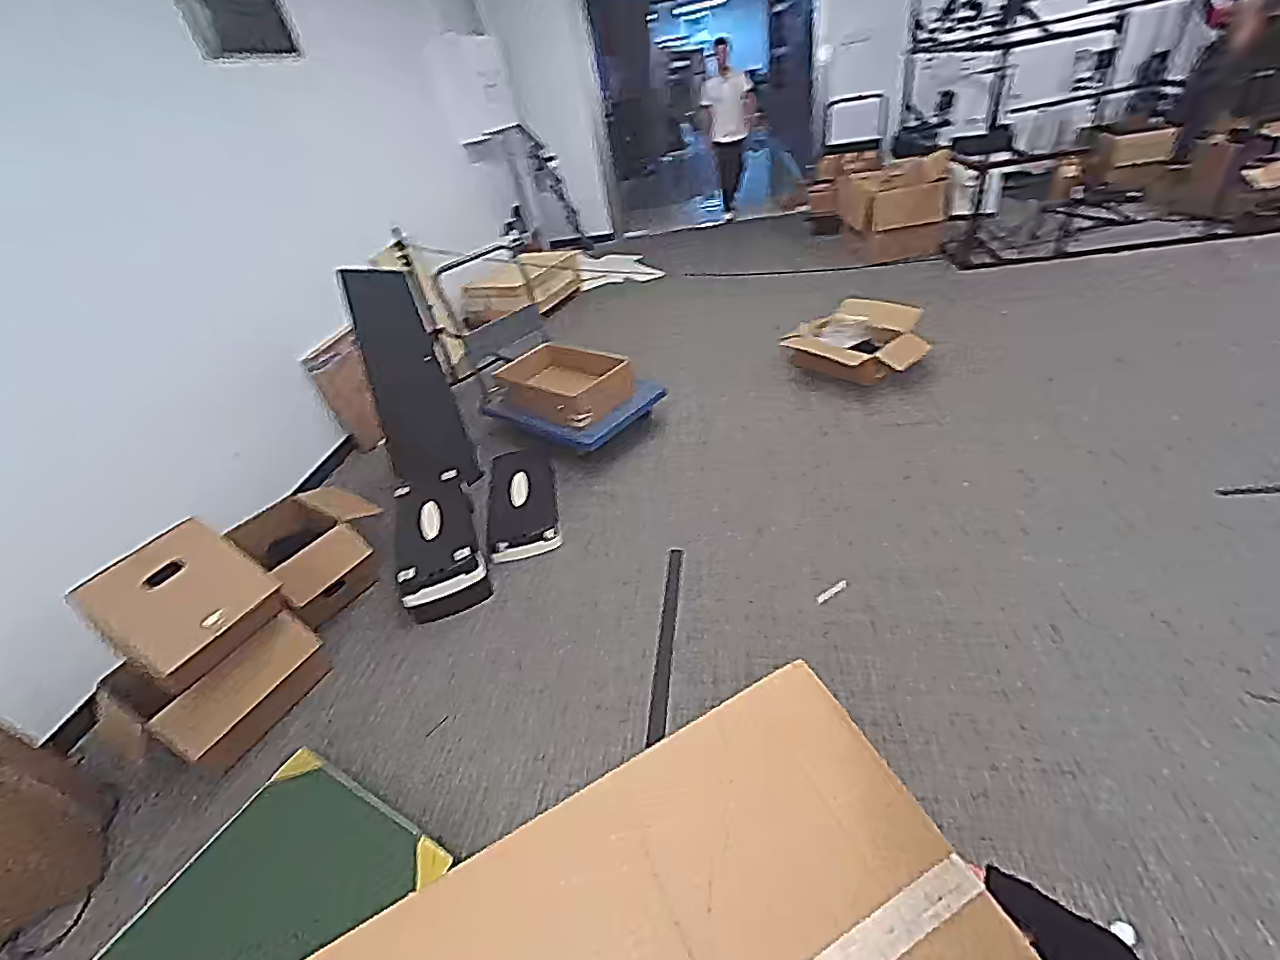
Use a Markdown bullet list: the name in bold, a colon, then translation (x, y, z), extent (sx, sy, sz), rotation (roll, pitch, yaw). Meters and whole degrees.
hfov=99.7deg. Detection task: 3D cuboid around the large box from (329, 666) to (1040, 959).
- **large box**: translation (0.050, 0.423, 0.401), extent (0.408, 0.320, 0.320), rotation (-25, 50, -12)
